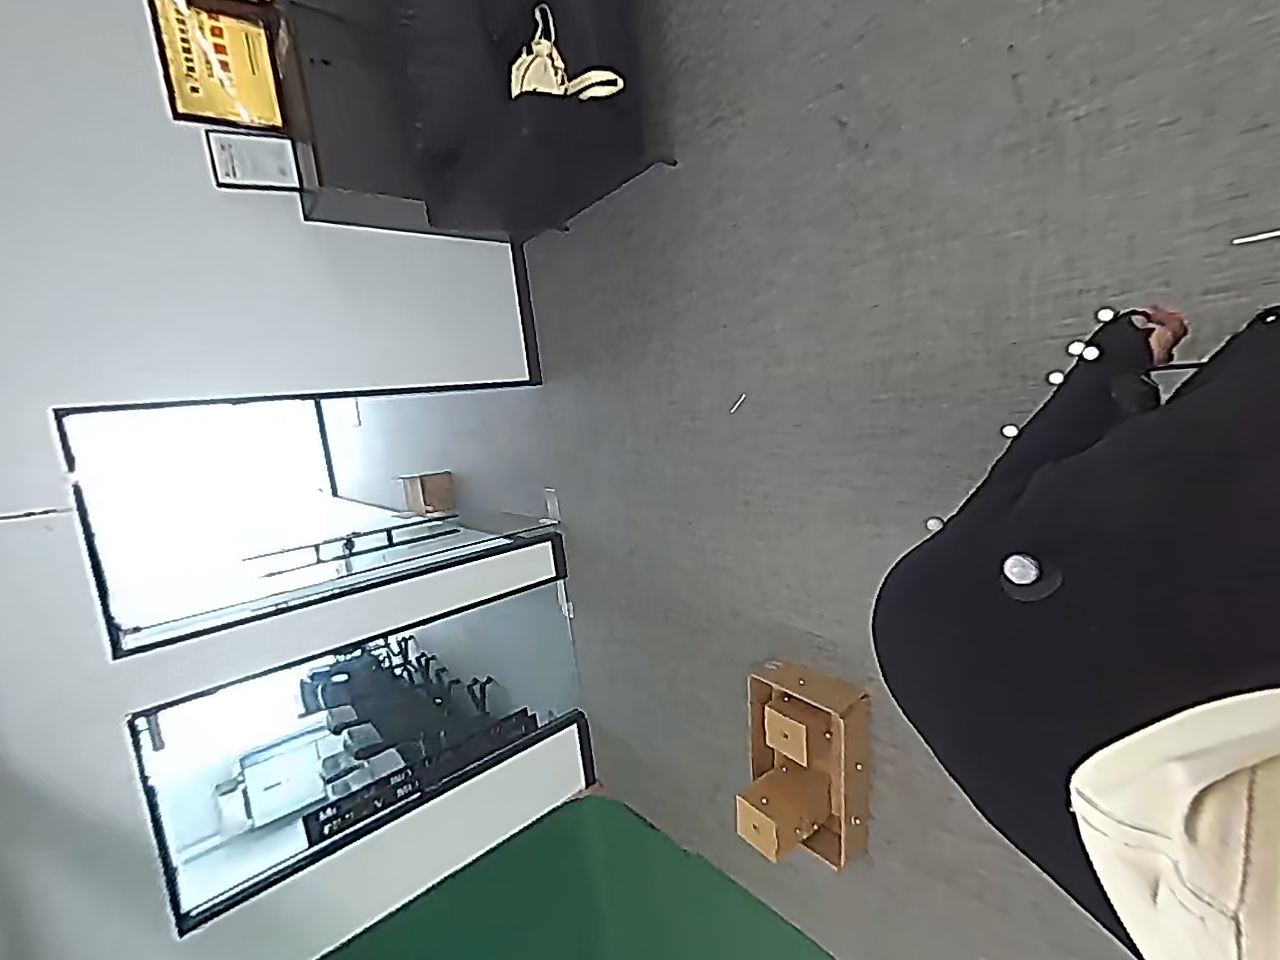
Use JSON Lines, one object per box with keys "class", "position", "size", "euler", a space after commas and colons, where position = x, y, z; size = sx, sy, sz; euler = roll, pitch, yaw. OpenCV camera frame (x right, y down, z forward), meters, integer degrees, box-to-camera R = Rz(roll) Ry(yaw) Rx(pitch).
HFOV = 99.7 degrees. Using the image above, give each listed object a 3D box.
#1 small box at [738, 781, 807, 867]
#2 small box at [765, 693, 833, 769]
{"class": "small box", "position": [0.470, 1.210, 1.924], "size": [0.179, 0.176, 0.168], "euler": [9, 106, 50]}
{"class": "small box", "position": [0.579, 0.903, 1.969], "size": [0.179, 0.176, 0.168], "euler": [8, 107, 49]}
